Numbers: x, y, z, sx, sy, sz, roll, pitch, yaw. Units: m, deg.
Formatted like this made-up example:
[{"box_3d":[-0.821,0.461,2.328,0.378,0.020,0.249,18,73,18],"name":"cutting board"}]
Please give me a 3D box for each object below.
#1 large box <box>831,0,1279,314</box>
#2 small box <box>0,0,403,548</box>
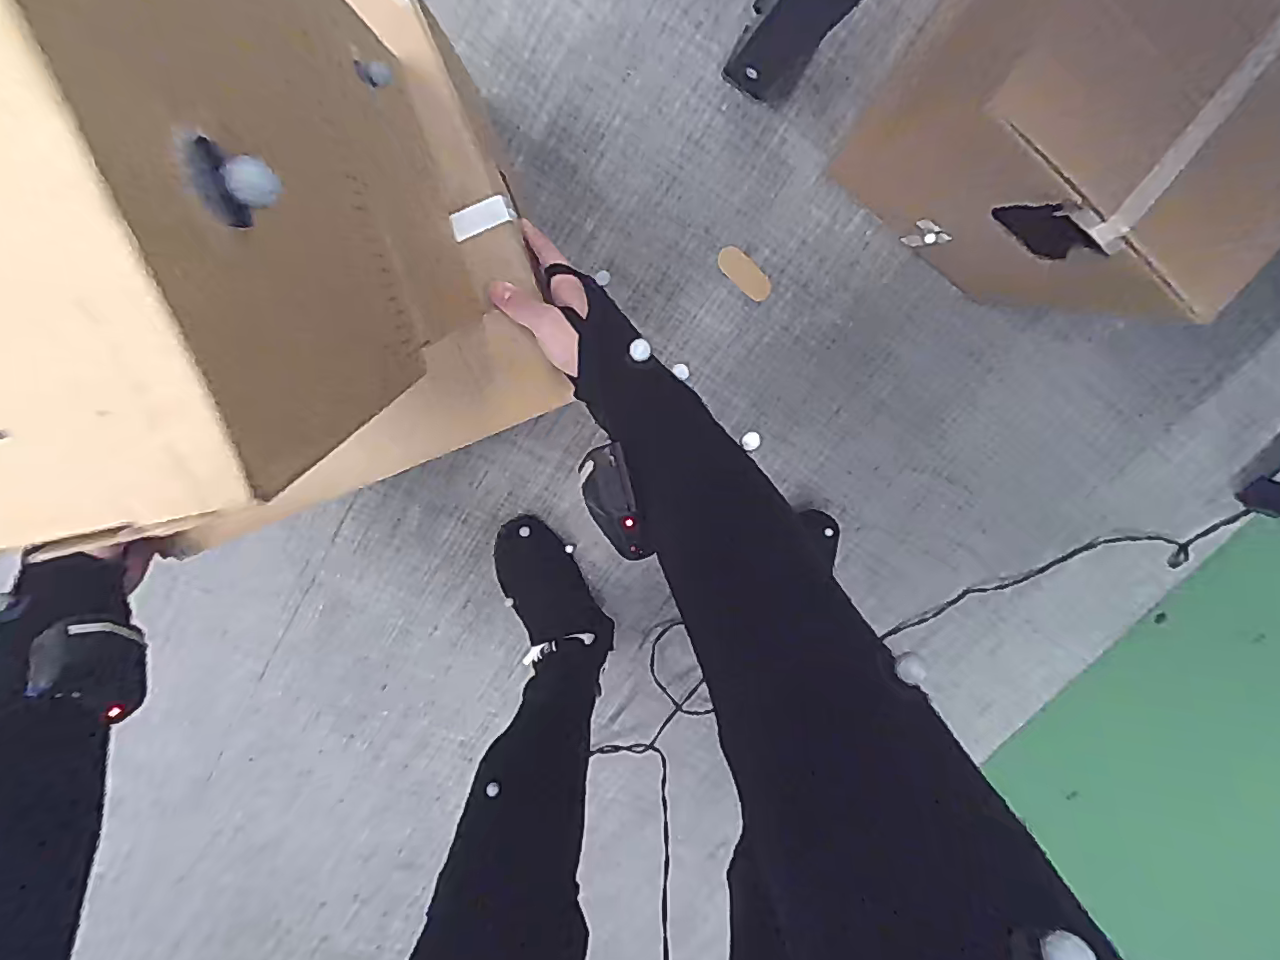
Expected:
[{"box_3d":[0.480,-0.427,0.542,0.320,0.320,0.408,29,104,-16],"name":"large box"},{"box_3d":[-0.198,-0.088,0.165,0.168,0.176,0.179,-12,113,-2],"name":"small box"}]
